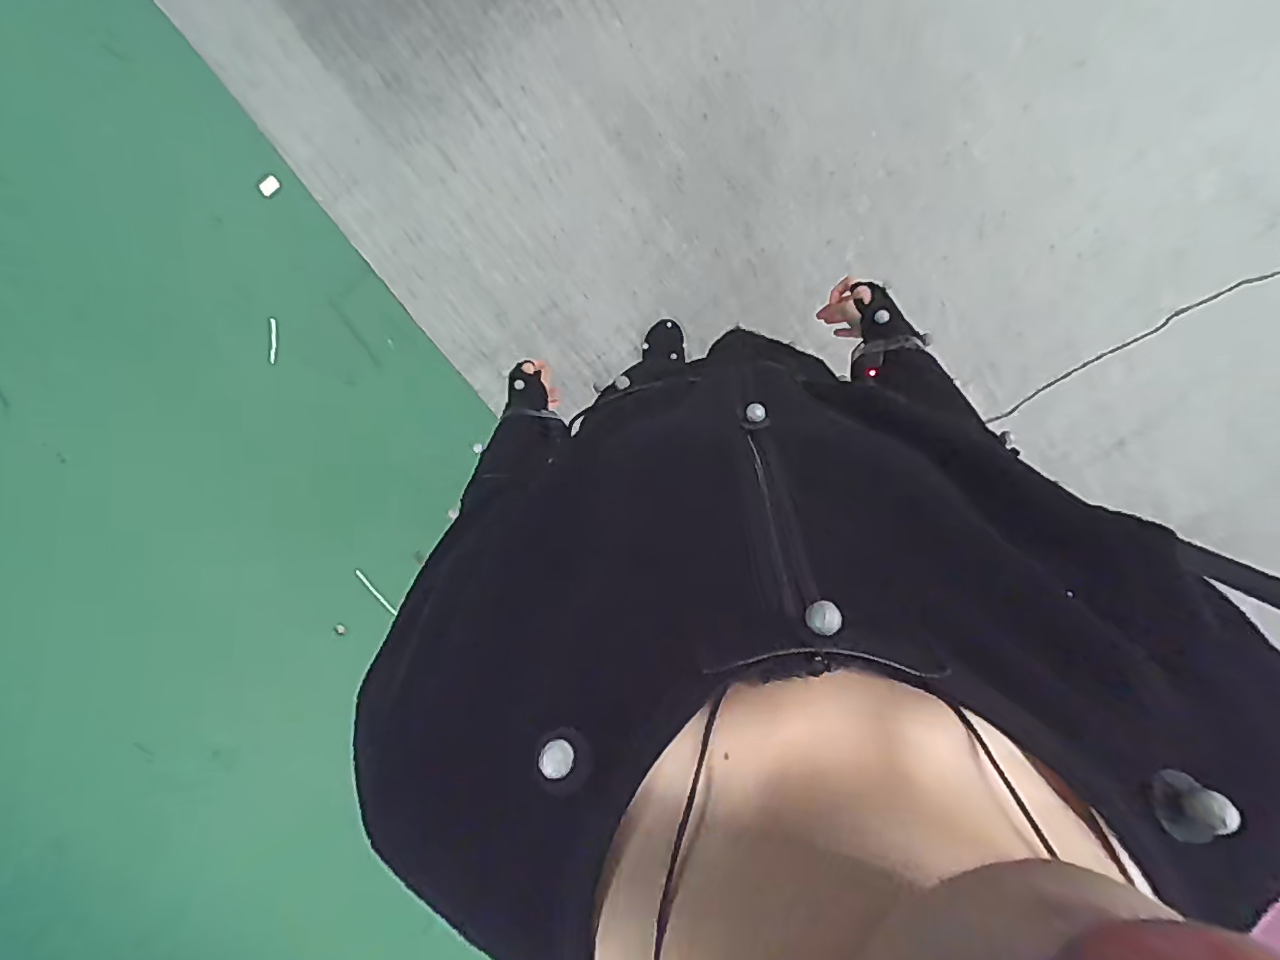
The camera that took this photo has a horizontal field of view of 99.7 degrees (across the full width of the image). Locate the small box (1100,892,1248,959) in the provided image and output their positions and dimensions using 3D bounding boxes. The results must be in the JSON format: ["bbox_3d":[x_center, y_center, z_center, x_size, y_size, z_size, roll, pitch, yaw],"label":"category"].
[{"bbox_3d":[0.944,0.850,0.905,0.168,0.176,0.179,-42,102,10],"label":"small box"}]
